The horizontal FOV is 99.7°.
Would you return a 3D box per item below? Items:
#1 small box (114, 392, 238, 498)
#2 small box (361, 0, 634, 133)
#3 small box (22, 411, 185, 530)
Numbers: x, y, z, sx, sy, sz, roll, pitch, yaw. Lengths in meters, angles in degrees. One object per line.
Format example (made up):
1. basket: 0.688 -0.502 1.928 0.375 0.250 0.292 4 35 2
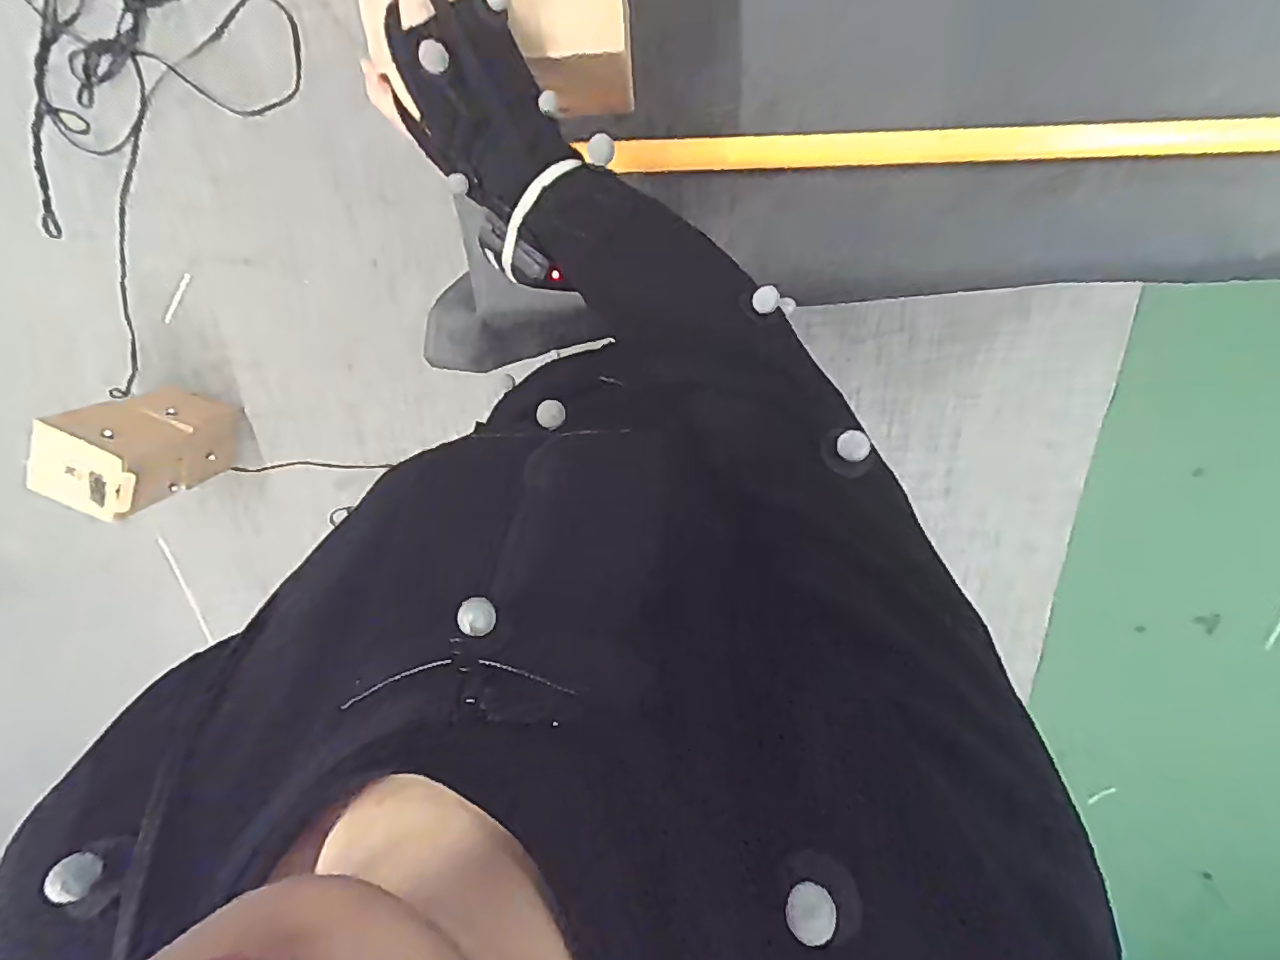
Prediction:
1. small box: -1.114 -0.089 1.303 0.168 0.176 0.179 22 110 -7
2. small box: -0.092 -0.373 0.388 0.168 0.176 0.179 -3 113 3
3. small box: -1.128 -0.029 1.149 0.179 0.176 0.168 27 109 -9
